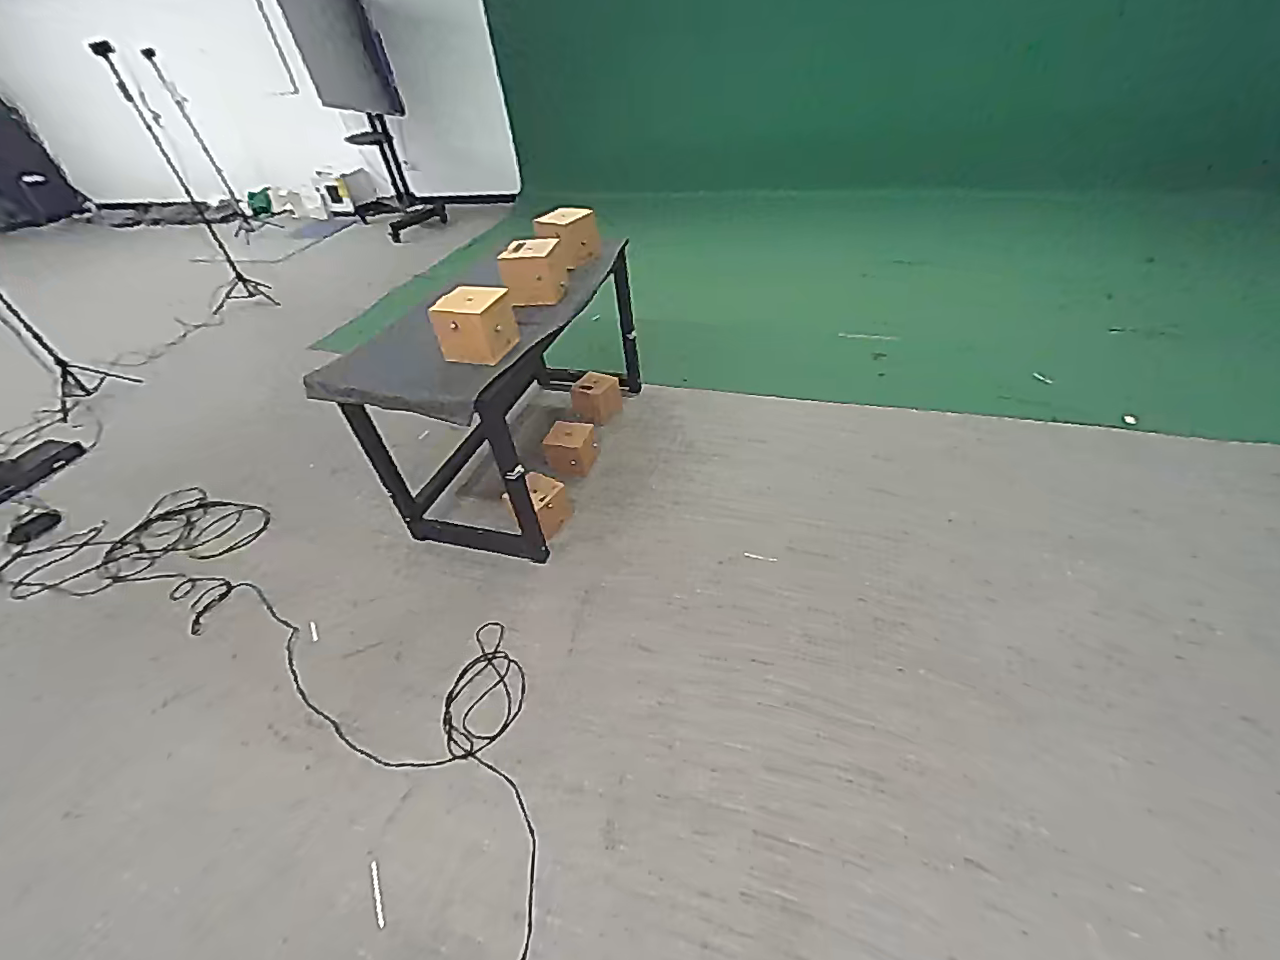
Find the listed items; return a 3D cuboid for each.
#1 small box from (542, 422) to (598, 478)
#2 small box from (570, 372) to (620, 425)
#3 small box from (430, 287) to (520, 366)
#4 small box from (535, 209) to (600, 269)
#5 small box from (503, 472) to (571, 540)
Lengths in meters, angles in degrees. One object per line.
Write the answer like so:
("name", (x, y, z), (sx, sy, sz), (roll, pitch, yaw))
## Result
("small box", (-0.292, -0.127, 2.310), (0.179, 0.176, 0.168), (6, 43, 16))
("small box", (-0.207, -0.388, 2.584), (0.168, 0.176, 0.179), (19, 47, 25))
("small box", (-0.482, -0.456, 1.612), (0.179, 0.176, 0.168), (9, 45, 18))
("small box", (-0.276, -0.938, 2.107), (0.179, 0.176, 0.168), (23, 50, 33))
("small box", (-0.390, 0.103, 2.072), (0.179, 0.176, 0.168), (22, 50, 29))
